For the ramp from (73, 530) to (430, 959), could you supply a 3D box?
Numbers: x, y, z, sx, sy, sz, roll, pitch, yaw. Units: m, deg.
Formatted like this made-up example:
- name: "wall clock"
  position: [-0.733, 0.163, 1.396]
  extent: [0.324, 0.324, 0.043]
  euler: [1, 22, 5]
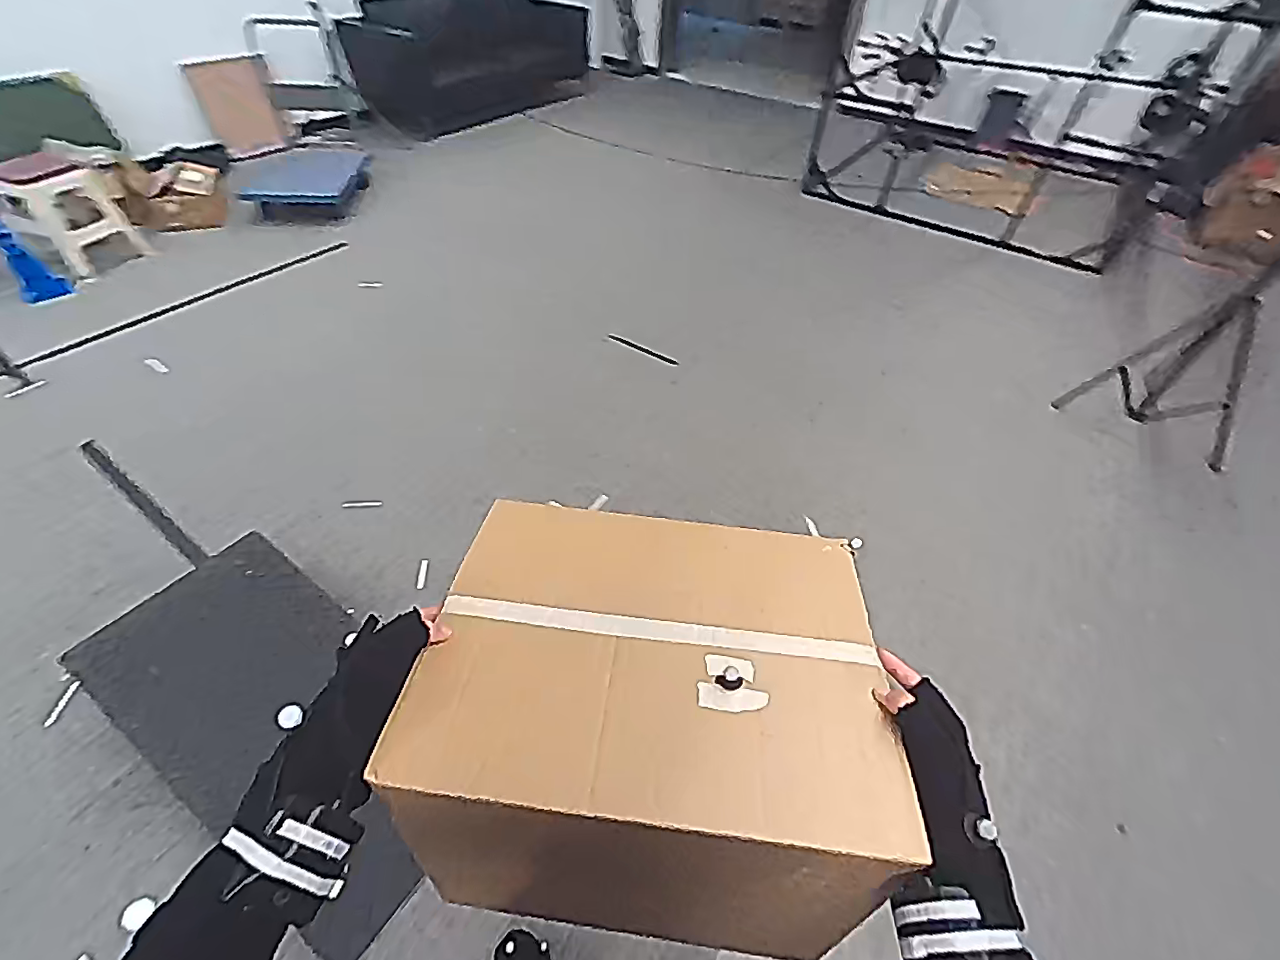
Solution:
- name: "ramp"
  position: [-0.850, 0.565, 1.347]
  extent: [0.991, 0.206, 0.509]
  euler: [28, 51, 20]

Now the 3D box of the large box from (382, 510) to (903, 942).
- name: "large box"
  position: [0.002, 0.265, 0.609]
  extent: [0.408, 0.320, 0.320]
  euler: [6, 39, 3]
